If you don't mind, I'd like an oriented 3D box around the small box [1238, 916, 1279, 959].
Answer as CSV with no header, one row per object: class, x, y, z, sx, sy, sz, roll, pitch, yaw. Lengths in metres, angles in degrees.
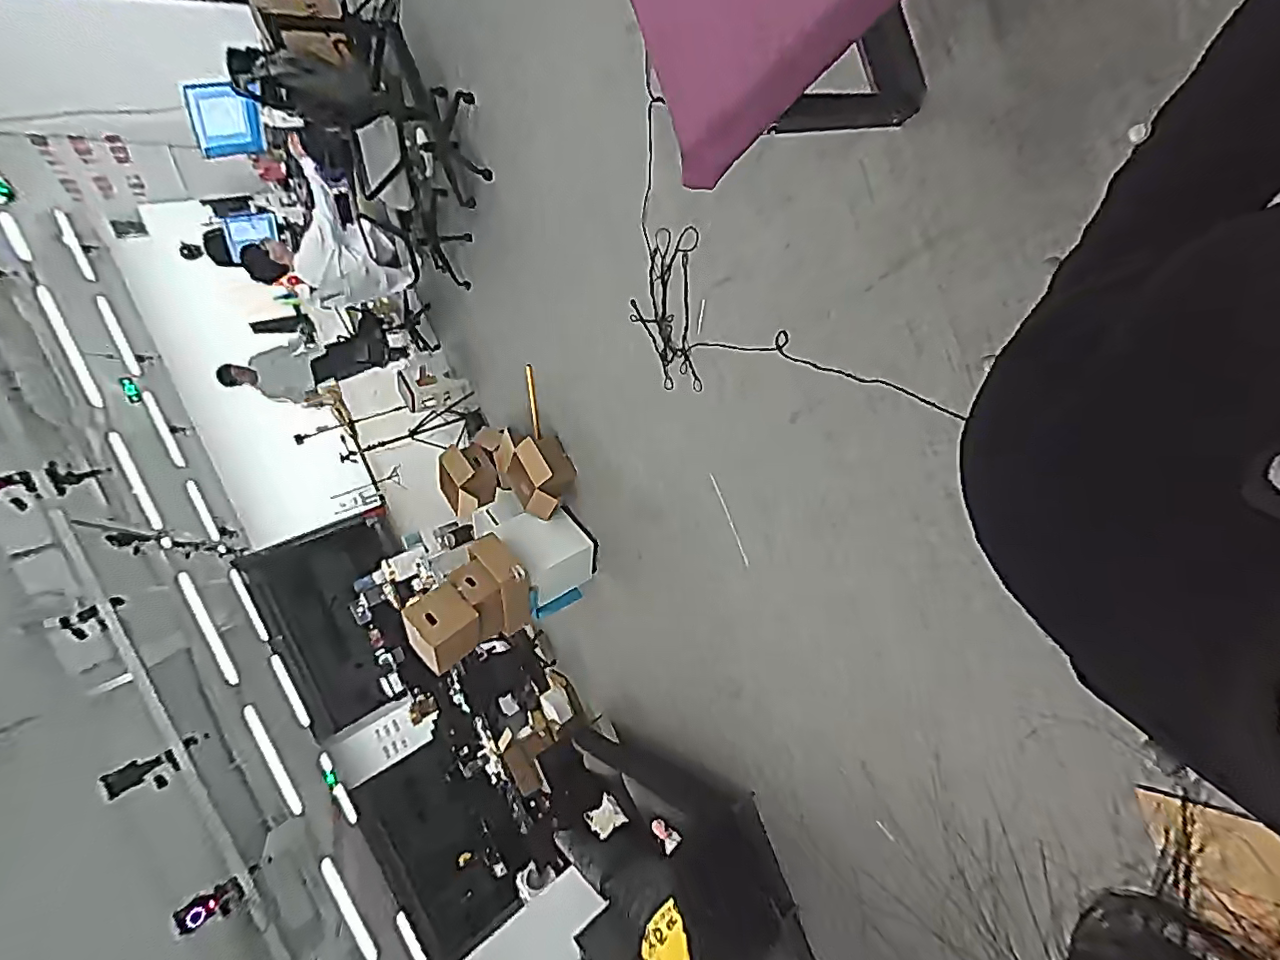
small box,1.559,1.219,1.295,0.168,0.176,0.179,17,125,51
